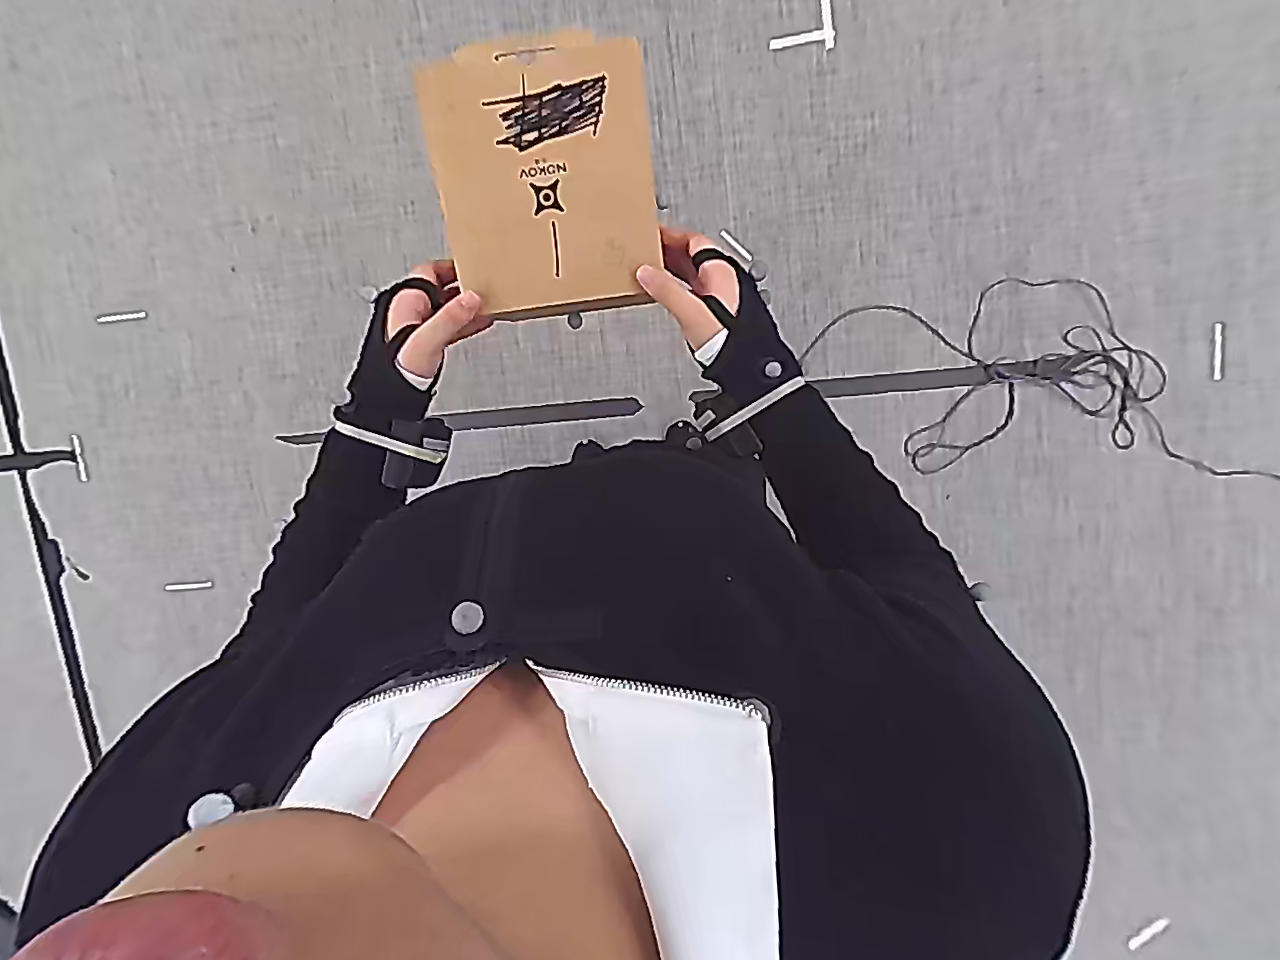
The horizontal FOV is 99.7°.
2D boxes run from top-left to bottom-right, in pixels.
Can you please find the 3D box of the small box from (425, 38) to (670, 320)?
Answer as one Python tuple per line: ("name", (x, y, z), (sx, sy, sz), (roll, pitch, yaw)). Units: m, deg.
("small box", (-0.068, -0.246, 0.487), (0.168, 0.176, 0.179), (-7, 105, 1))
